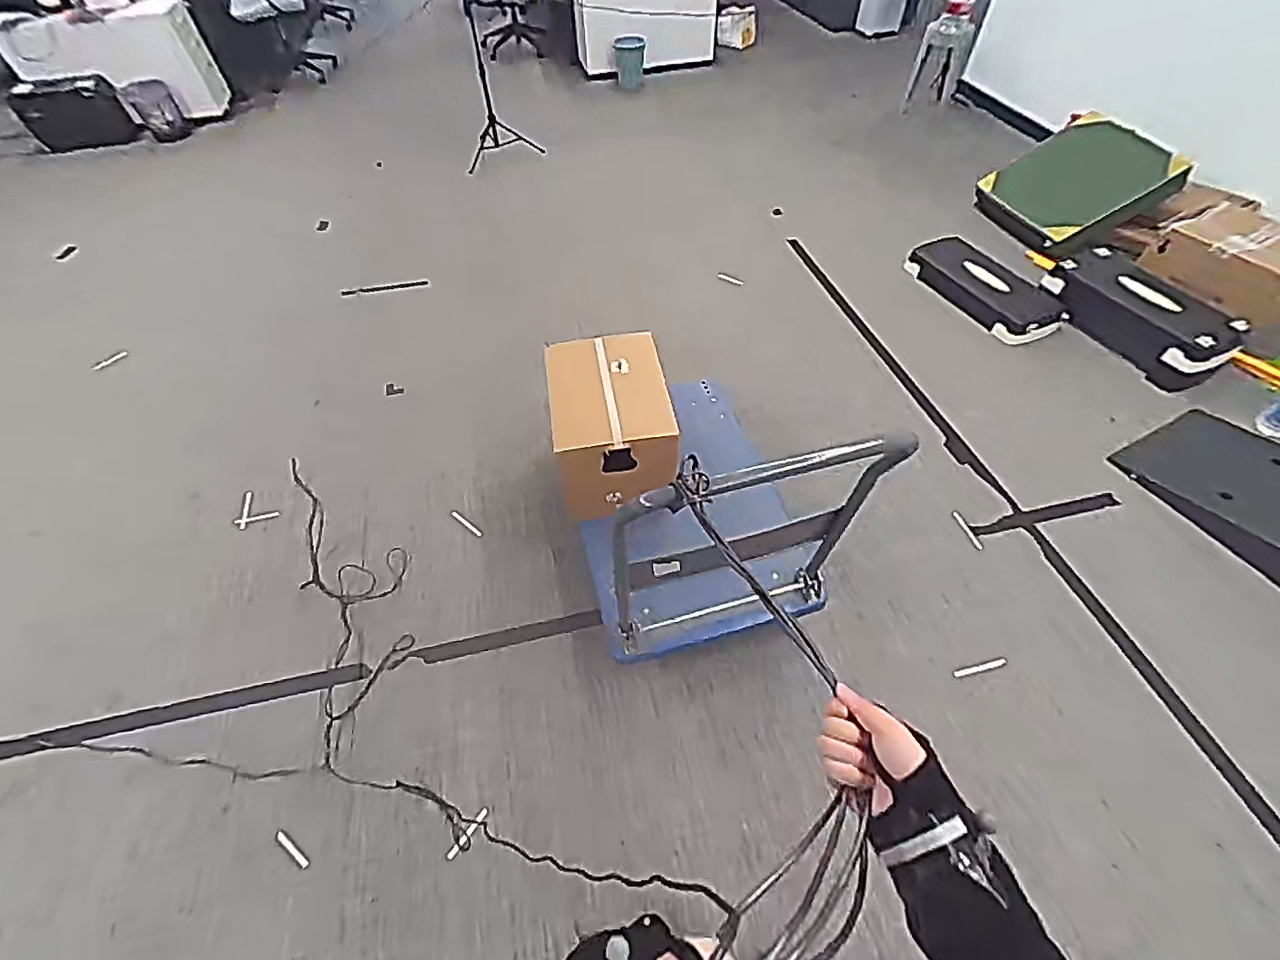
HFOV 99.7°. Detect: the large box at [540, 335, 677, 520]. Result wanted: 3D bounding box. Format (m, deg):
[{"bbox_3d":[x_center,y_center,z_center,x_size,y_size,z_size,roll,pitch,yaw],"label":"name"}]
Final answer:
[{"bbox_3d":[-0.091,-0.149,1.541,0.320,0.320,0.408,-8,53,-6],"label":"large box"}]
